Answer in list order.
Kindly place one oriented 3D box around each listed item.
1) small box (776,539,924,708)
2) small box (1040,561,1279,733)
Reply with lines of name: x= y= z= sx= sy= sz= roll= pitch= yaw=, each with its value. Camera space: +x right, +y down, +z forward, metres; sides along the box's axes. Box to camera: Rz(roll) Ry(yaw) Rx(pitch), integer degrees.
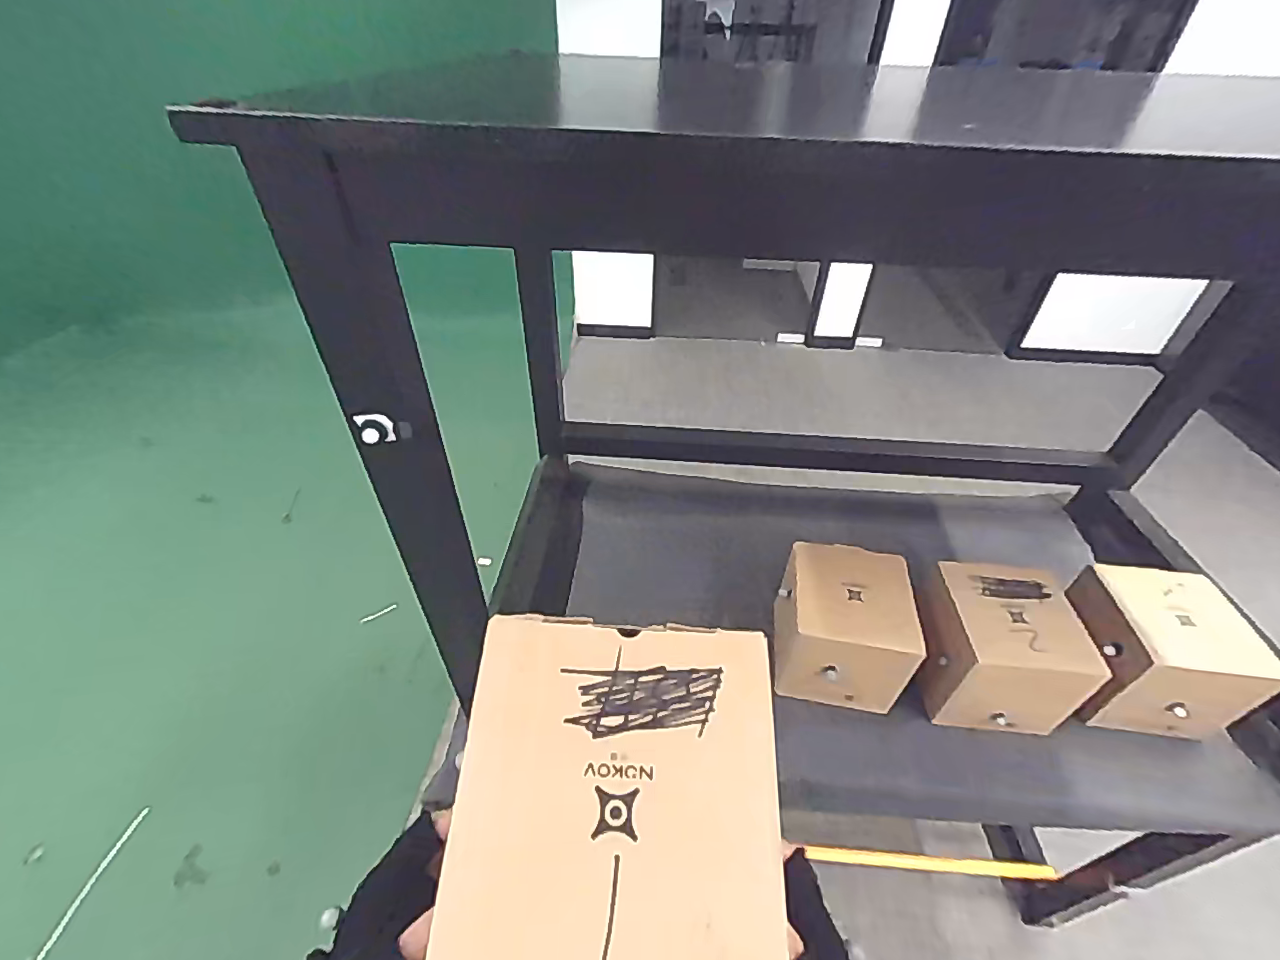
small box: x=0.306 y=0.220 z=0.825 sx=0.168 sy=0.176 sz=0.179 roll=8 pitch=41 yaw=8
small box: x=0.746 y=0.247 z=0.800 sx=0.168 sy=0.176 sz=0.179 roll=6 pitch=40 yaw=5
